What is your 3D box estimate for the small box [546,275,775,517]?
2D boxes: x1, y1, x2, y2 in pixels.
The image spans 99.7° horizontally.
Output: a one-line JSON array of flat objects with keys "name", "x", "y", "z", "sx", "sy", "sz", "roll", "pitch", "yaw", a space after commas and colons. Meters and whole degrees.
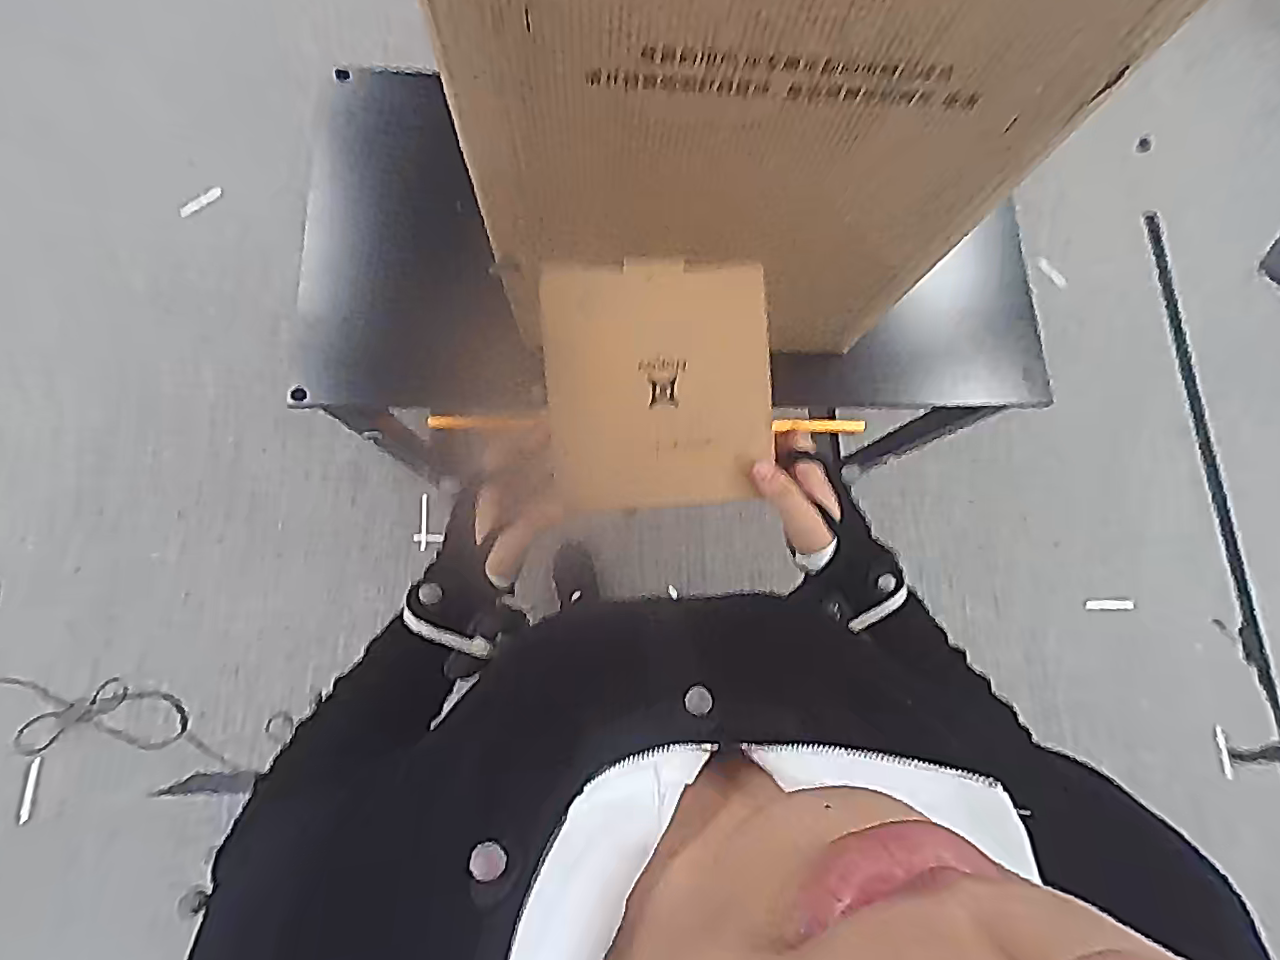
[{"name": "small box", "x": 0.004, "y": -0.062, "z": 0.476, "sx": 0.168, "sy": 0.176, "sz": 0.179, "roll": -4, "pitch": 90, "yaw": -9}]
